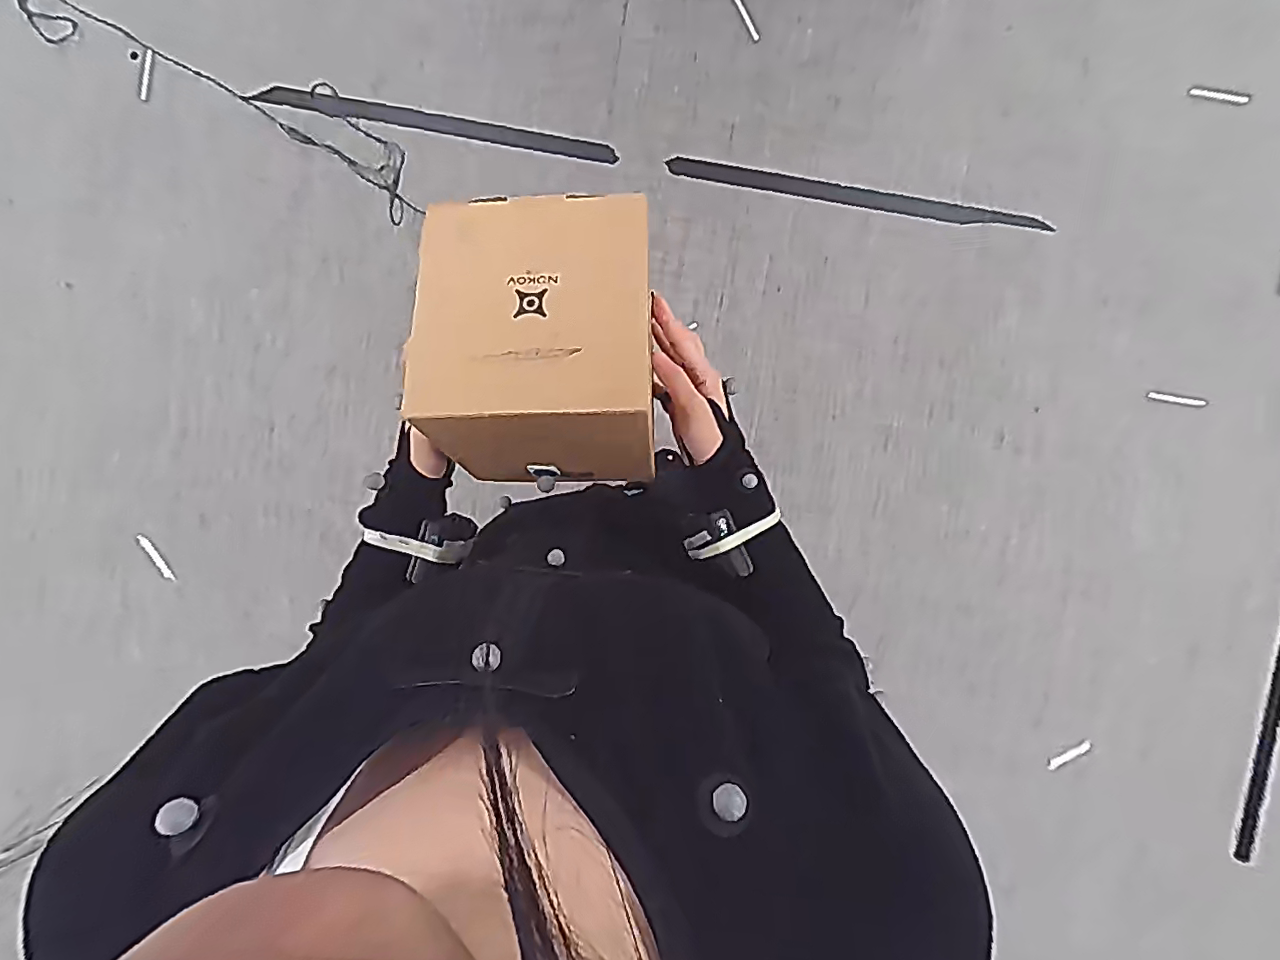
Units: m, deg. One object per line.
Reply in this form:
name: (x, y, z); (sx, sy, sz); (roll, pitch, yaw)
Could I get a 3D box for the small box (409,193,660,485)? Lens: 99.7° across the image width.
small box: (-0.068, -0.102, 0.450); (0.168, 0.176, 0.179); (-2, 74, 3)

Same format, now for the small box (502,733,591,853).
small box: (-0.212, 0.724, 1.271); (0.168, 0.176, 0.179); (9, 93, 0)

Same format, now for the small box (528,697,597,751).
small box: (-0.213, 0.708, 1.435); (0.168, 0.176, 0.179); (12, 92, 0)
